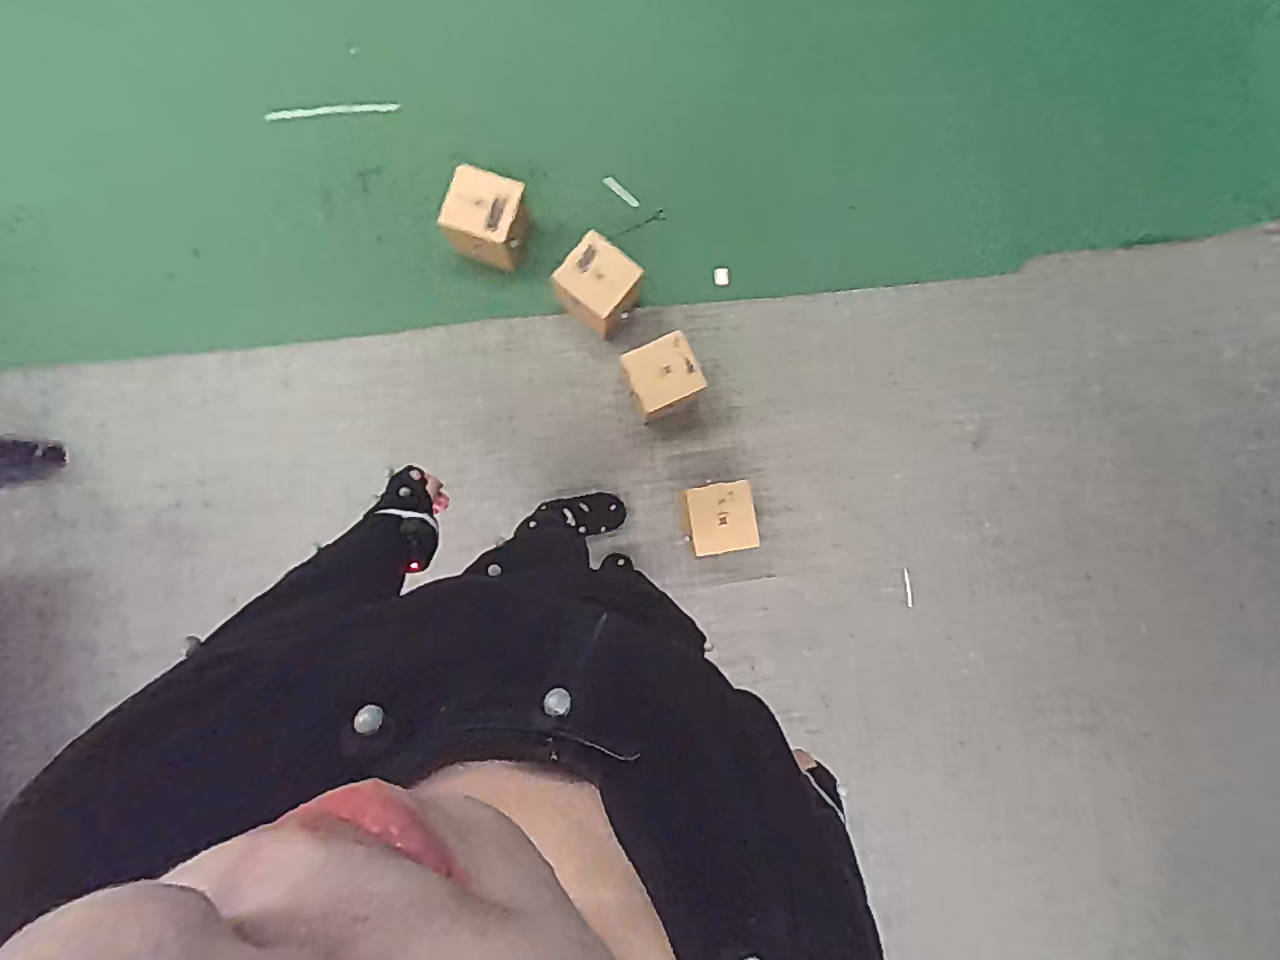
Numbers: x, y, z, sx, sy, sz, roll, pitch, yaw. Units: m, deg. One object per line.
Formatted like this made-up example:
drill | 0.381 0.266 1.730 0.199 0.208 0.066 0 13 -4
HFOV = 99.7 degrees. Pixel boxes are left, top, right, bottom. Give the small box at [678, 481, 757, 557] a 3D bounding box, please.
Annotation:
small box | 0.201 0.099 1.439 0.168 0.176 0.179 -8 88 -4

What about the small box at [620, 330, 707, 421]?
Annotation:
small box | 0.059 -0.272 1.452 0.179 0.176 0.168 -24 88 -3

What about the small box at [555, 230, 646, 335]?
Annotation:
small box | -0.107 -0.522 1.456 0.179 0.176 0.168 39 86 -1
